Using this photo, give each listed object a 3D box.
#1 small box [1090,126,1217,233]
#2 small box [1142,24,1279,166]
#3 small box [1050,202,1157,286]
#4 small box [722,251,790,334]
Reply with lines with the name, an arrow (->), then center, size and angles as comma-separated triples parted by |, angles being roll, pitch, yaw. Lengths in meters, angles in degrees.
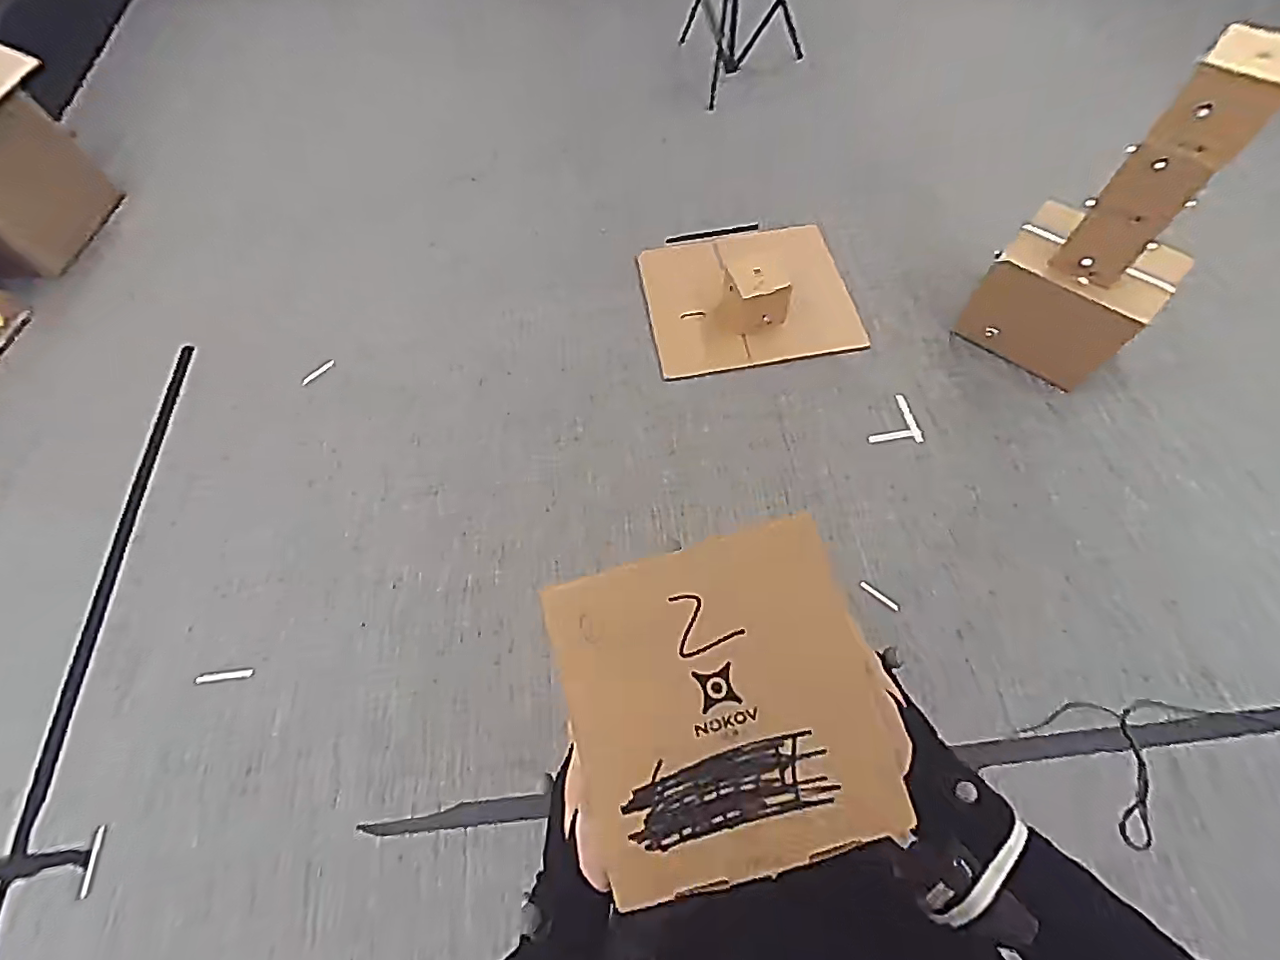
small box -> 1.227, -0.729, 1.278 | 0.168, 0.176, 0.179 | 38, 71, 21
small box -> 1.217, -0.798, 1.131 | 0.168, 0.176, 0.179 | 37, 71, 20
small box -> 1.236, -0.653, 1.423 | 0.168, 0.176, 0.179 | 38, 72, 20
small box -> 0.380, -0.623, 1.808 | 0.168, 0.176, 0.179 | -18, 64, -2
